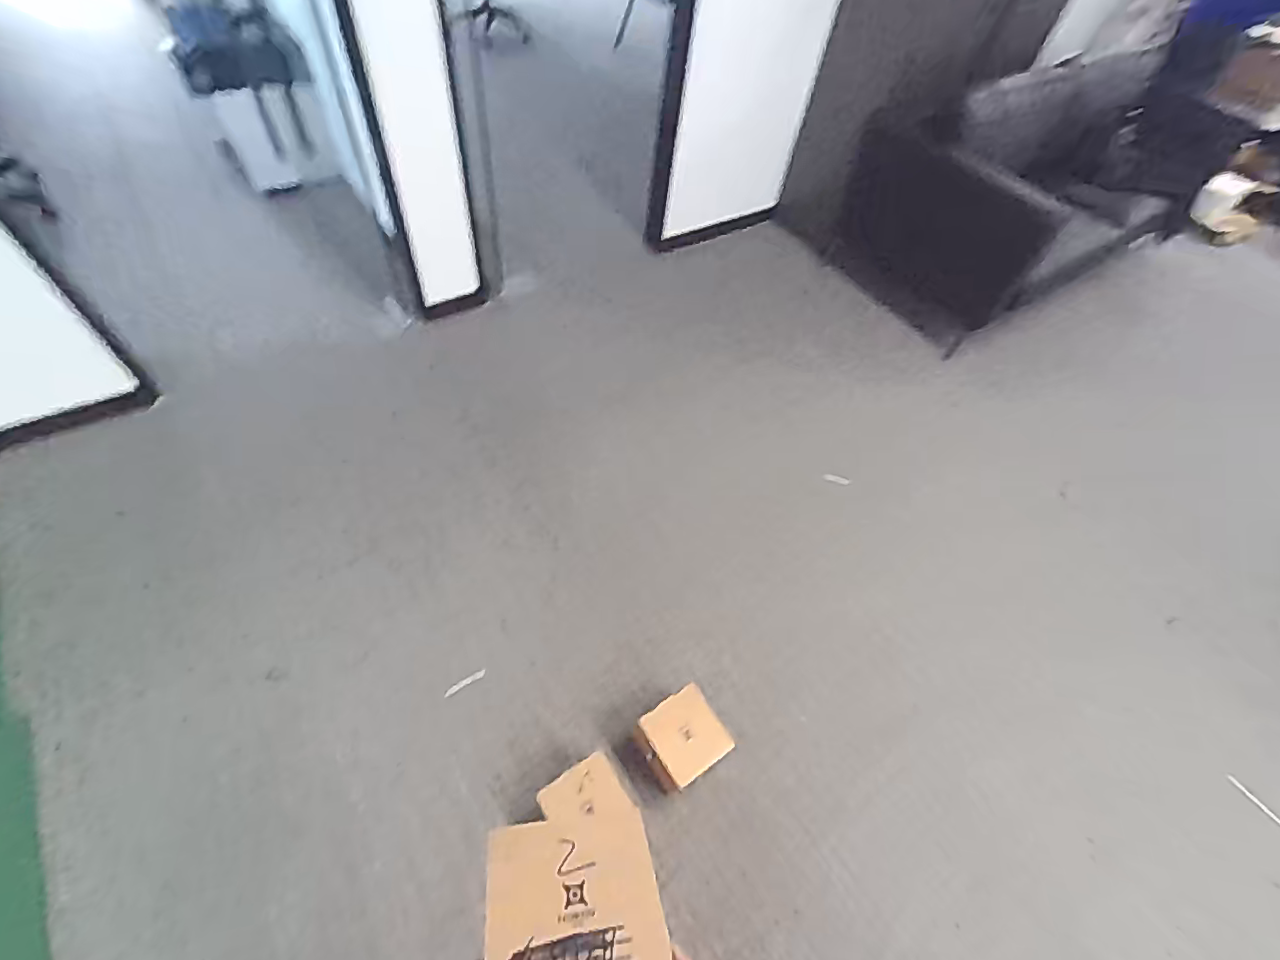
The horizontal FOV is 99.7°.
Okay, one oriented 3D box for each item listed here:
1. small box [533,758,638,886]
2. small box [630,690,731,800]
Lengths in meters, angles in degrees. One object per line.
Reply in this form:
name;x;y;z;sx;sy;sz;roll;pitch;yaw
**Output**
small box;-0.124;0.763;1.210;0.168;0.176;0.179;-26;60;-25
small box;0.091;0.655;1.326;0.168;0.176;0.179;-26;61;-25
